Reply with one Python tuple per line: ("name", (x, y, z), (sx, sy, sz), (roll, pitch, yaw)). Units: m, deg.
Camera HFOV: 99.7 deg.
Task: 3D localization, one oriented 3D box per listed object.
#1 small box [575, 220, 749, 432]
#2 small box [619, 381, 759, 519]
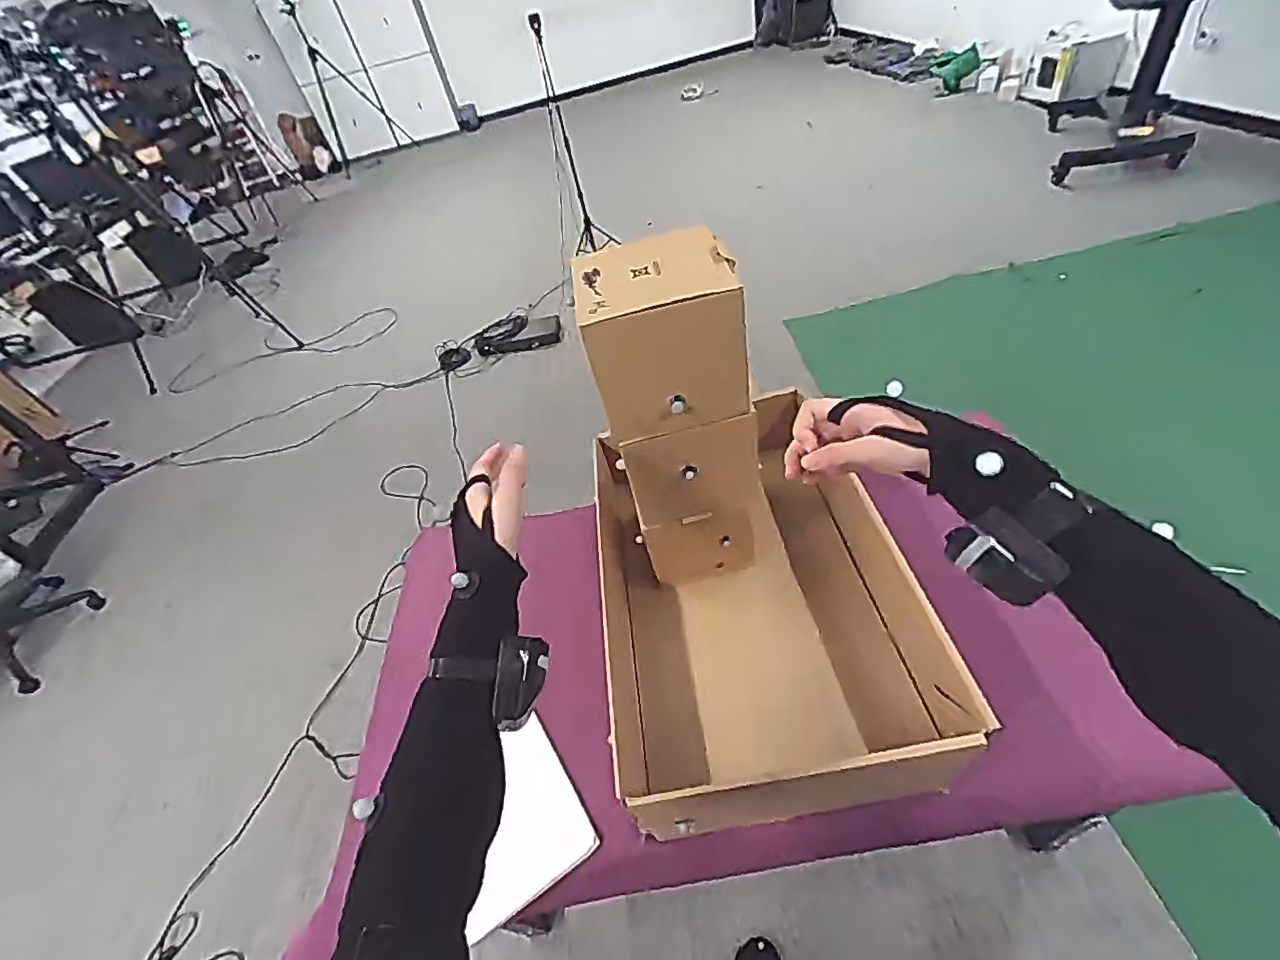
("small box", (0.028, -0.183, 0.656), (0.179, 0.176, 0.168), (-12, 46, 2))
("small box", (0.062, -0.070, 0.771), (0.179, 0.176, 0.168), (-15, 46, 1))
